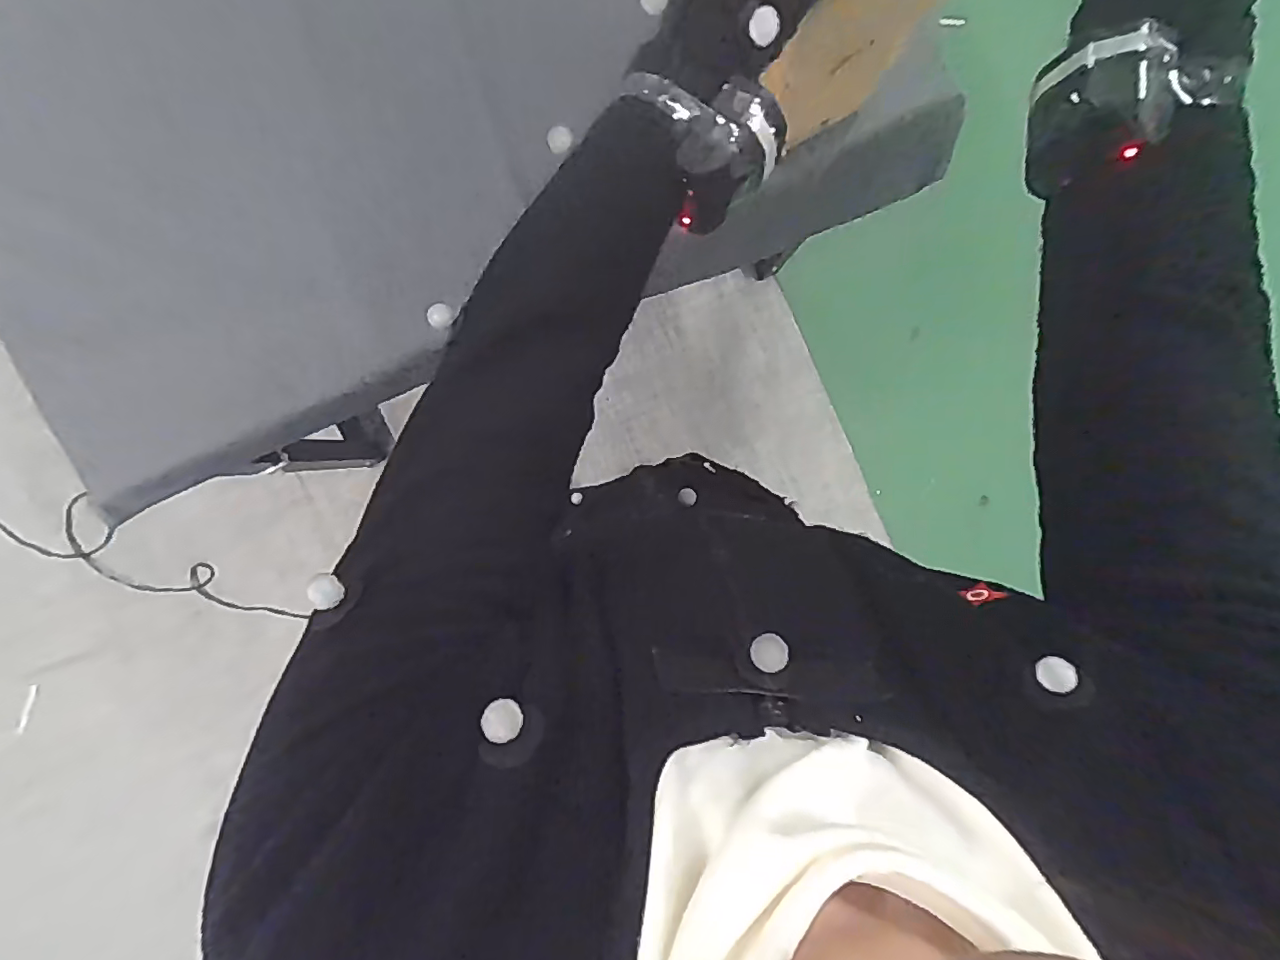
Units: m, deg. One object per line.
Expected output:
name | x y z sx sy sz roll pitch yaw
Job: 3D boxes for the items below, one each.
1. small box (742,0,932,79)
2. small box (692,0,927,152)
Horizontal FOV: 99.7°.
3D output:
small box | 0.183 -0.497 0.450 0.179 0.176 0.168 -27 91 1
small box | 0.174 -0.512 0.611 0.168 0.176 0.179 -29 92 -1
